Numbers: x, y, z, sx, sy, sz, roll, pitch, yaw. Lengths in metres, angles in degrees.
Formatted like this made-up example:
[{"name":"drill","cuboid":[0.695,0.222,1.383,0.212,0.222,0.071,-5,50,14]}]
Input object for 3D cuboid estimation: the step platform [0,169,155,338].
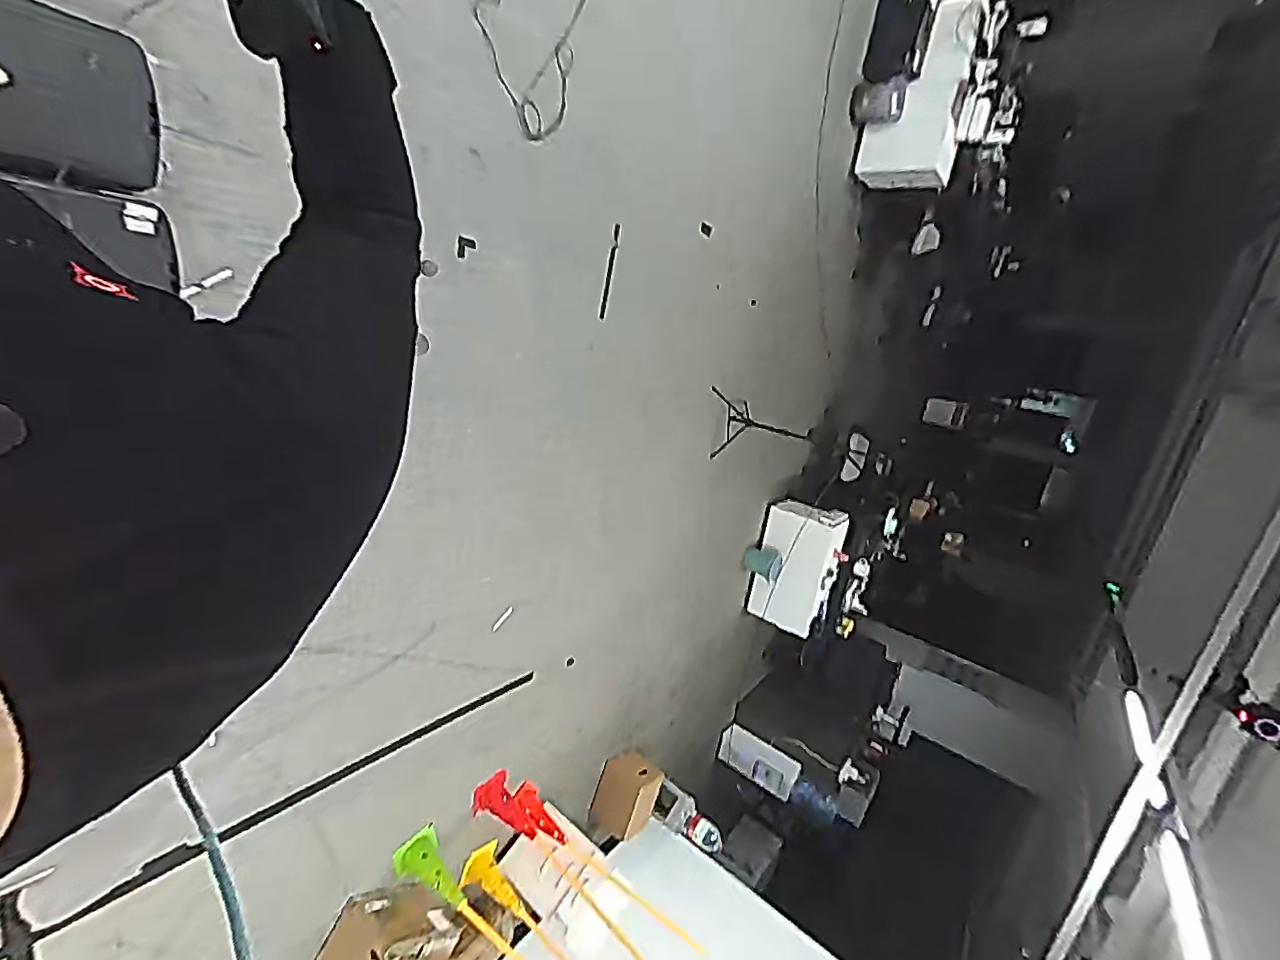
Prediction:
[{"name":"step platform","cuboid":[-1.268,-0.406,0.902,0.684,0.204,0.286,-12,116,-50]}]
